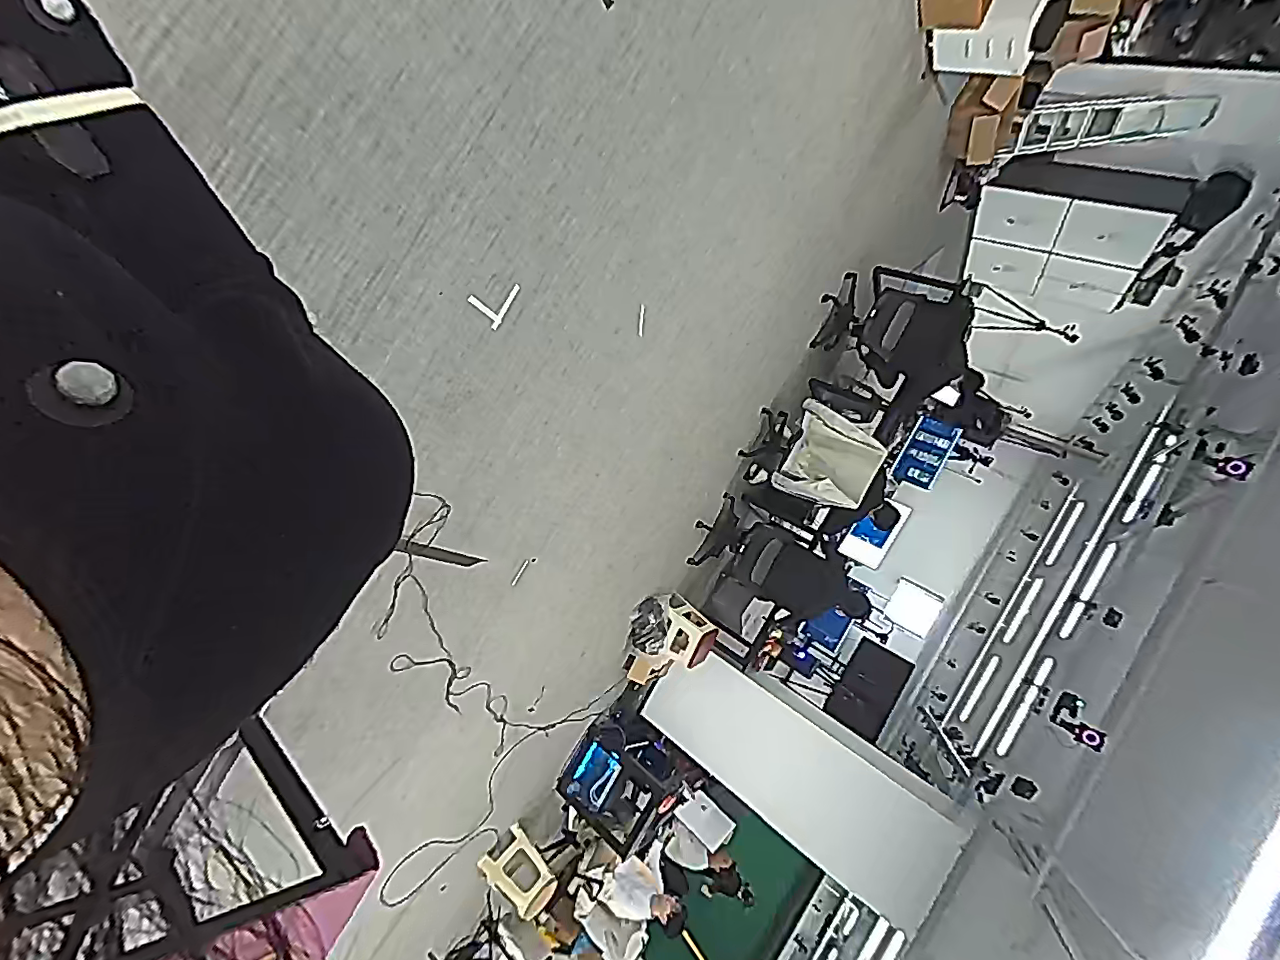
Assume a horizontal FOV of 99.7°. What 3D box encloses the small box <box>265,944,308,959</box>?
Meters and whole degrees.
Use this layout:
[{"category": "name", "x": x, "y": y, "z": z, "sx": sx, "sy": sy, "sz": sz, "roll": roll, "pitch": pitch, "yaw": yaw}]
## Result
[{"category": "small box", "x": -0.822, "y": 1.172, "z": 1.163, "sx": 0.168, "sy": 0.176, "sz": 0.179, "roll": -59, "pitch": 151, "yaw": 1}]
